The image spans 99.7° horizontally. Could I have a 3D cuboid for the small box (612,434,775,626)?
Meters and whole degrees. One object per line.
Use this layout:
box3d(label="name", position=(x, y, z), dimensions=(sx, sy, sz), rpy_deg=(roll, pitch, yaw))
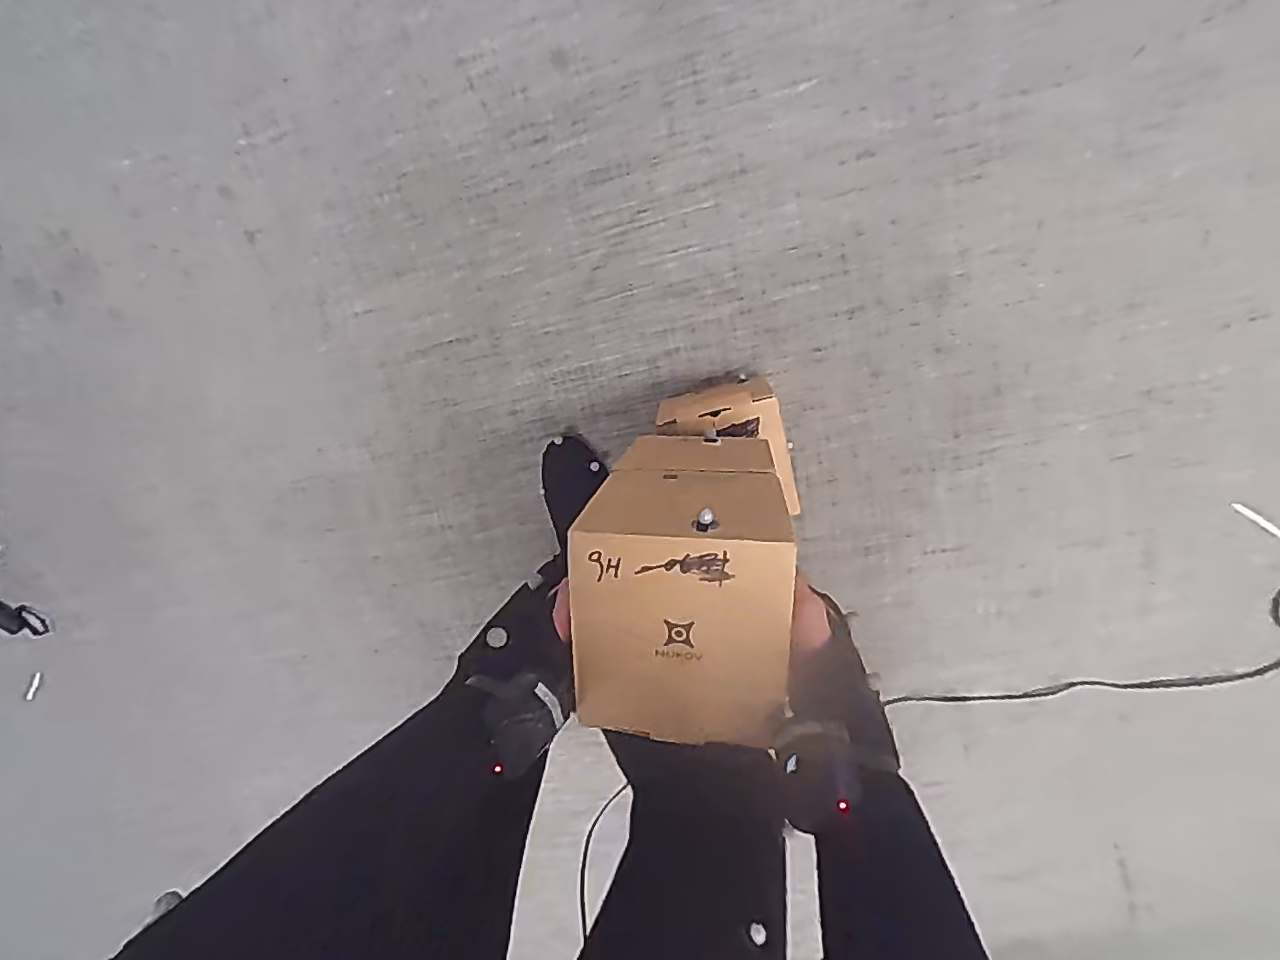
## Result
box3d(label="small box", position=(0.069, 0.048, 0.634), dimensions=(0.168, 0.176, 0.179), rpy_deg=(0, 105, 10))

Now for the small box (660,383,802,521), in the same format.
box3d(label="small box", position=(0.132, -0.039, 0.810), dimensions=(0.168, 0.176, 0.179), rpy_deg=(-13, 109, 11))
